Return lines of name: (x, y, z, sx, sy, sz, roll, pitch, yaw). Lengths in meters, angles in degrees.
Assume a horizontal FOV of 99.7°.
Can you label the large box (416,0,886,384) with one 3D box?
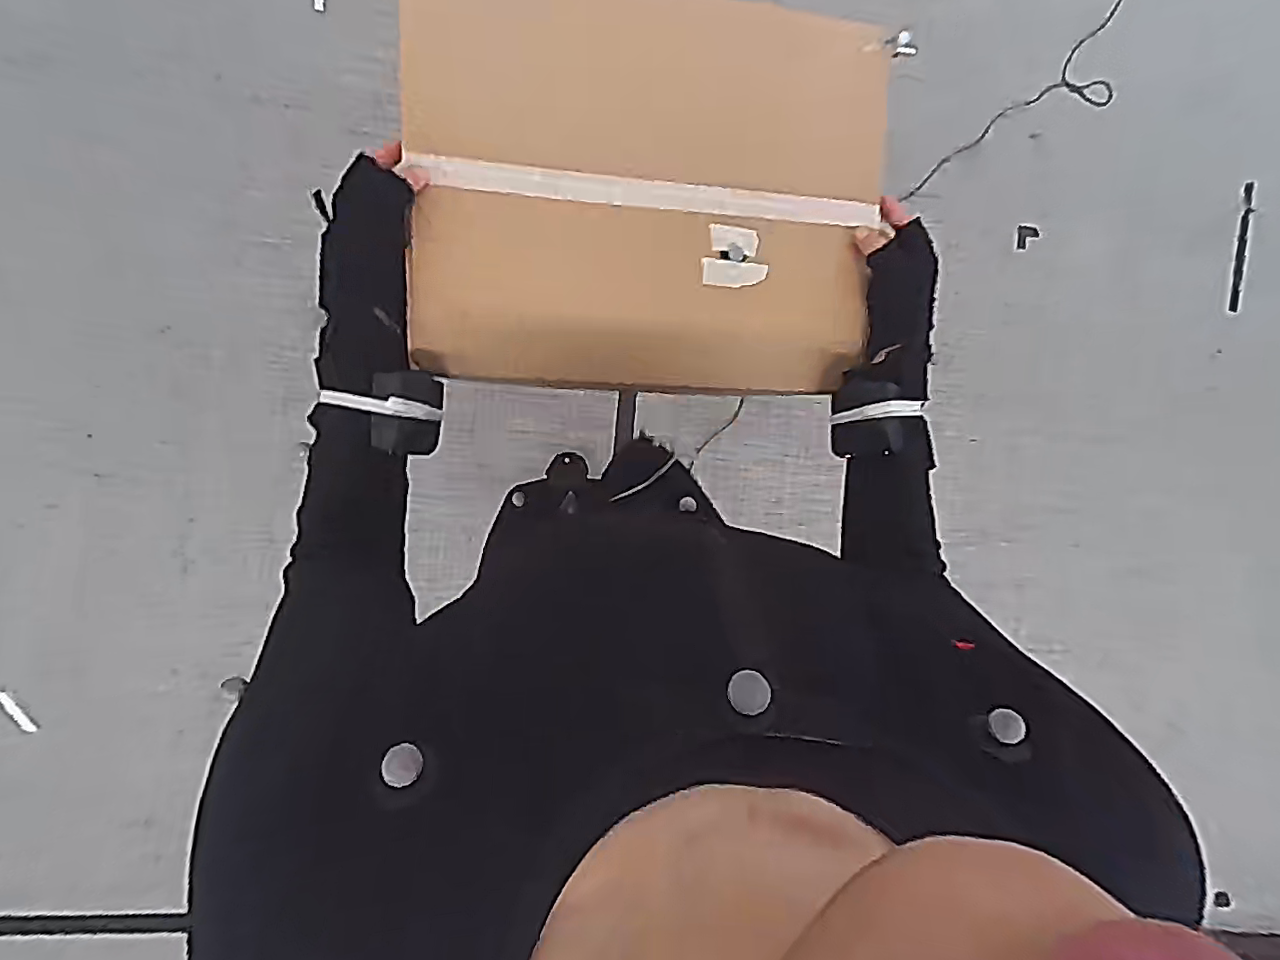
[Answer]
large box: (-0.009, -0.273, 0.610, 0.408, 0.320, 0.320, 1, 100, -11)
